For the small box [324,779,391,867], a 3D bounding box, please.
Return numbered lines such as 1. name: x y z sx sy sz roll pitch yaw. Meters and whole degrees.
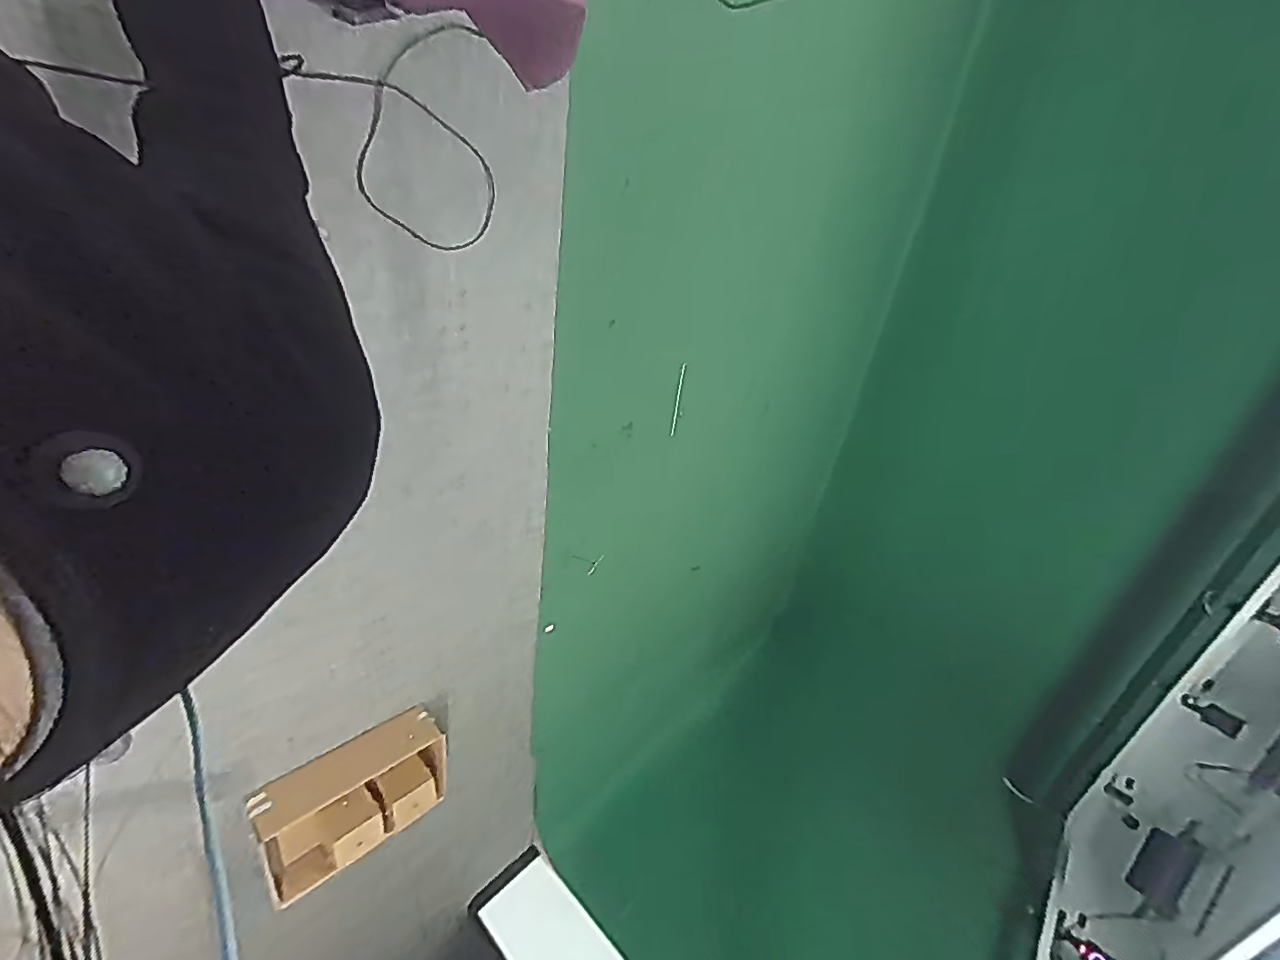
1. small box: -1.038 1.255 1.990 0.168 0.176 0.179 -20 128 -45
